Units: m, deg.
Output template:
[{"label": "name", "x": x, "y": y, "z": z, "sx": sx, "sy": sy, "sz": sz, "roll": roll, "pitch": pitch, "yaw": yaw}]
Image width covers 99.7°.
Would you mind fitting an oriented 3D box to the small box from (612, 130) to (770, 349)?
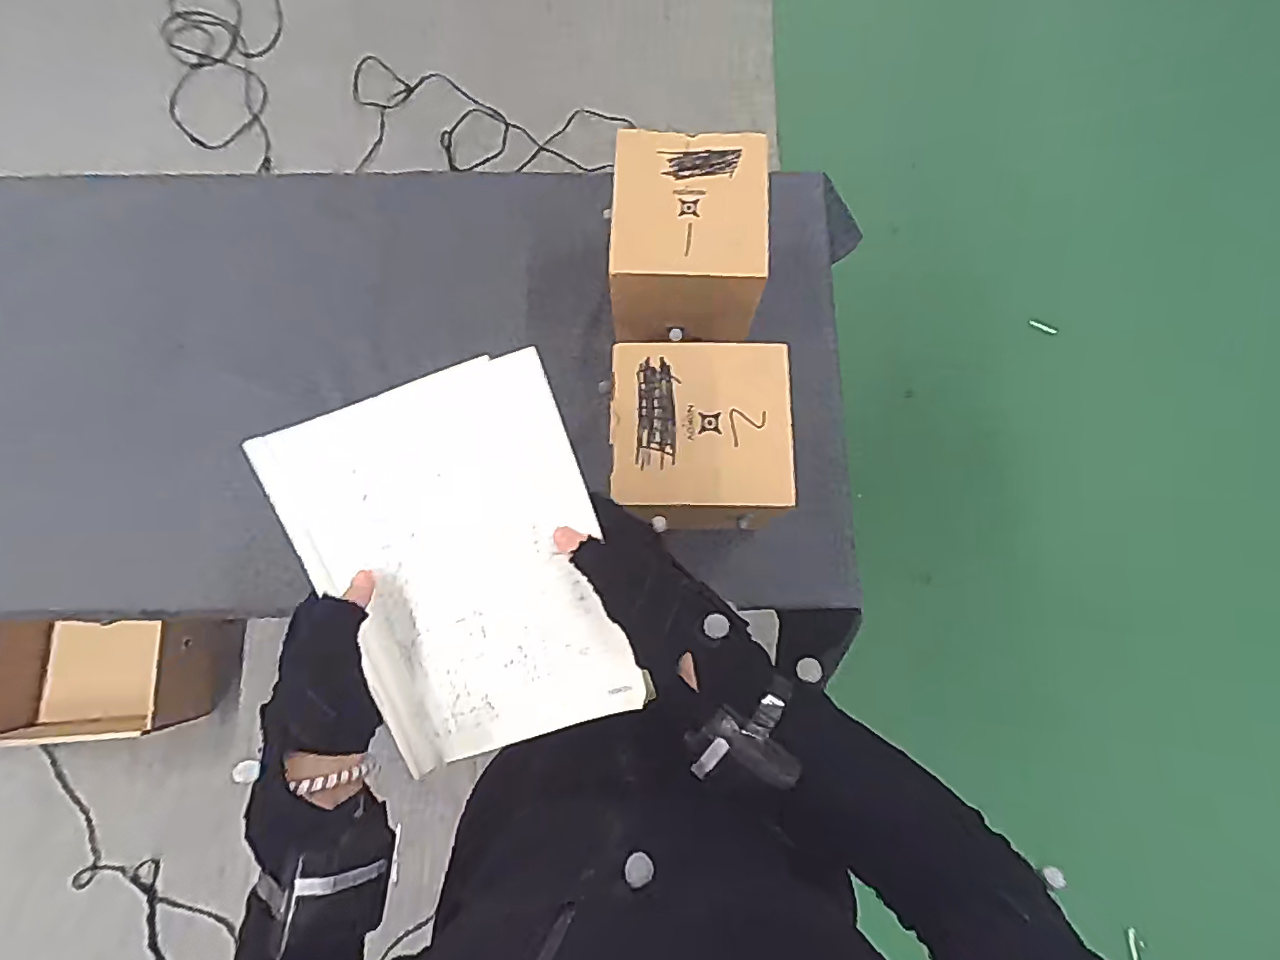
[{"label": "small box", "x": 0.056, "y": -0.278, "z": 0.652, "sx": 0.168, "sy": 0.176, "sz": 0.179, "roll": 3, "pitch": 79, "yaw": 1}]
